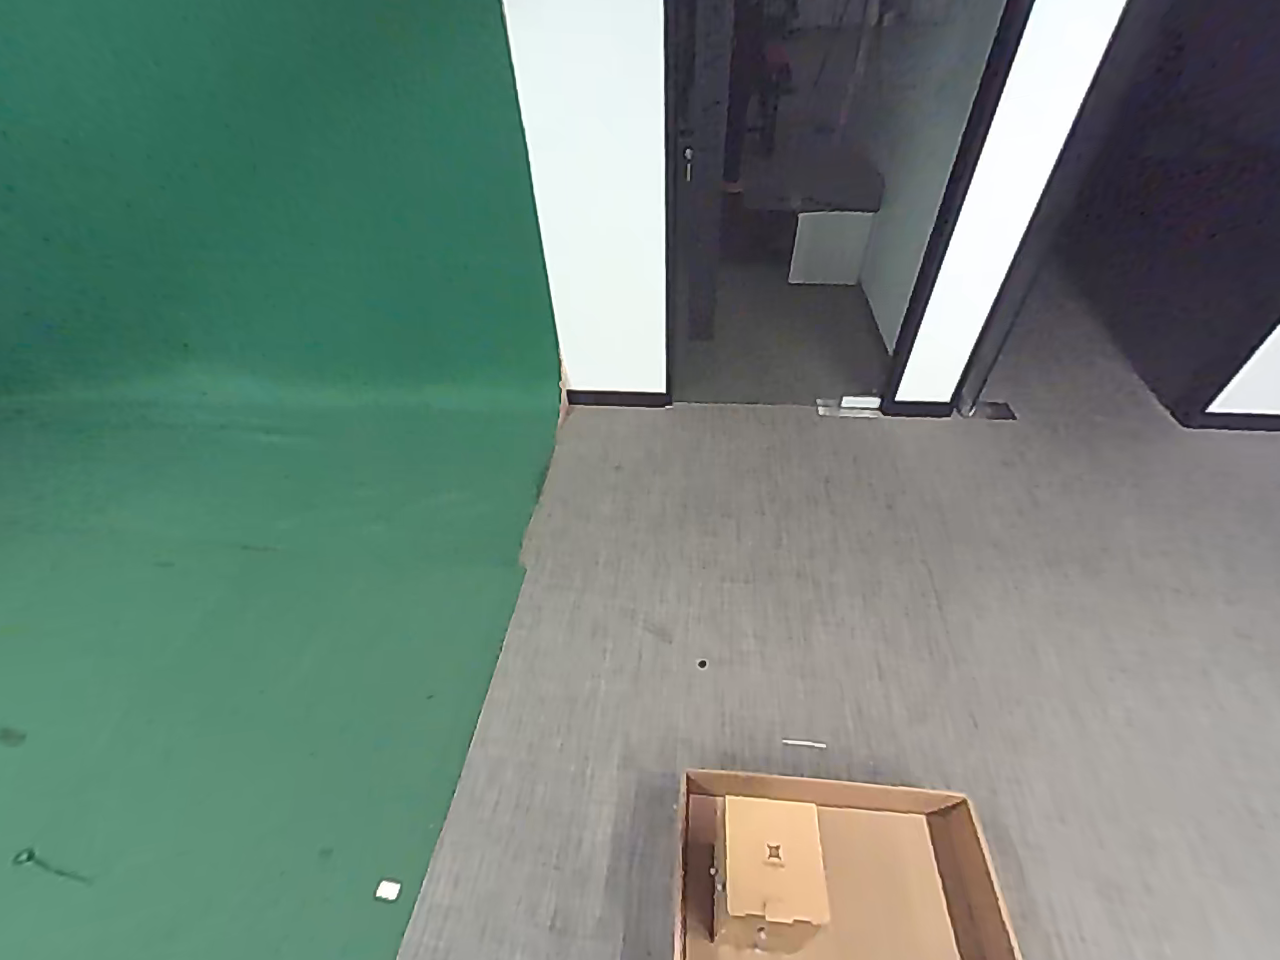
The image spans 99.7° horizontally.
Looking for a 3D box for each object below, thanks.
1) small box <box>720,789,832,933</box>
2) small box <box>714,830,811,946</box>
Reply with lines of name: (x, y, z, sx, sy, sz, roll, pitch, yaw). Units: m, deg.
small box: (0.234, 0.690, 0.979, 0.168, 0.176, 0.179, 3, 44, 5)
small box: (0.238, 0.808, 1.091, 0.168, 0.176, 0.179, 3, 44, 6)
